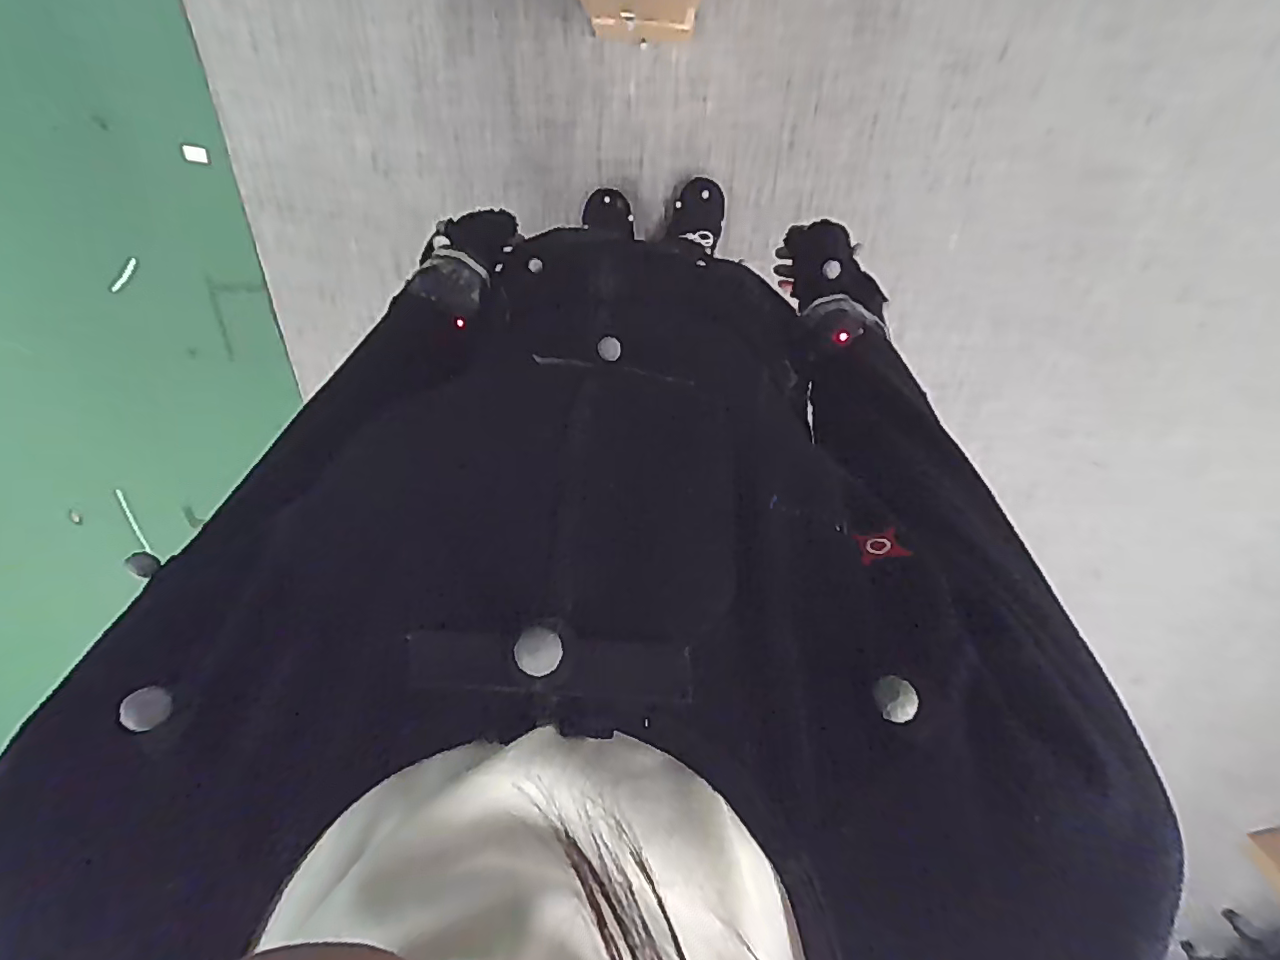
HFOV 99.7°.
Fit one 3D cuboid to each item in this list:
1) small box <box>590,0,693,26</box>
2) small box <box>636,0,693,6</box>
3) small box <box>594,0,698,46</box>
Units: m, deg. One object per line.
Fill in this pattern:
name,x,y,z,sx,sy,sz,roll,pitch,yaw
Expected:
small box,0.003,-0.810,0.805,0.168,0.176,0.179,4,122,1
small box,0.000,-0.718,0.668,0.179,0.176,0.168,5,121,0
small box,0.014,-0.883,0.950,0.179,0.176,0.168,4,121,-1
